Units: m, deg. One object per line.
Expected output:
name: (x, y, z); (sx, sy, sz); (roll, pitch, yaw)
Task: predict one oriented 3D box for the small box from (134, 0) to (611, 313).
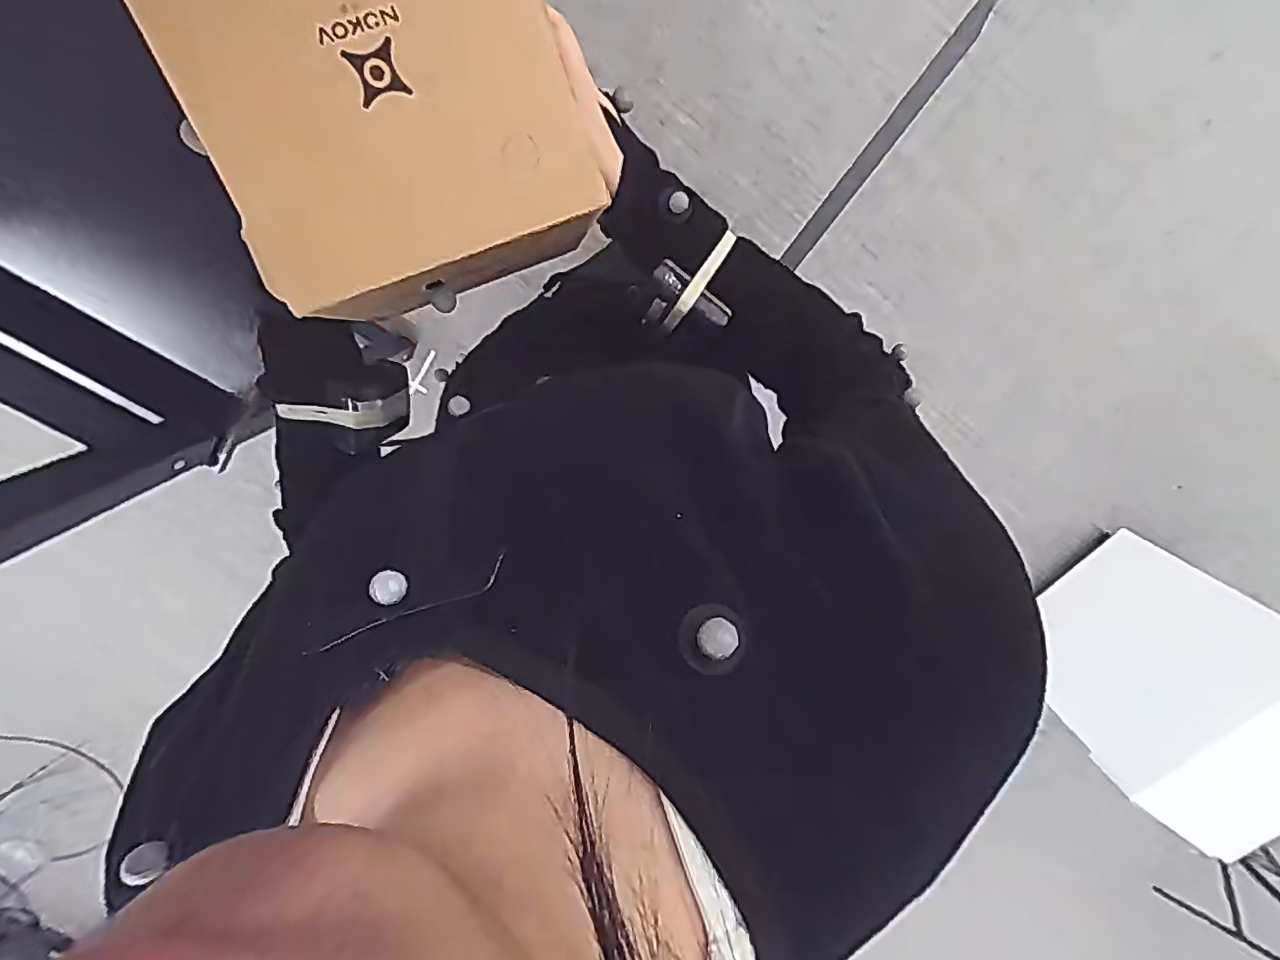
small box: (-0.128, -0.206, 0.311); (0.168, 0.176, 0.179); (-22, 107, -5)
